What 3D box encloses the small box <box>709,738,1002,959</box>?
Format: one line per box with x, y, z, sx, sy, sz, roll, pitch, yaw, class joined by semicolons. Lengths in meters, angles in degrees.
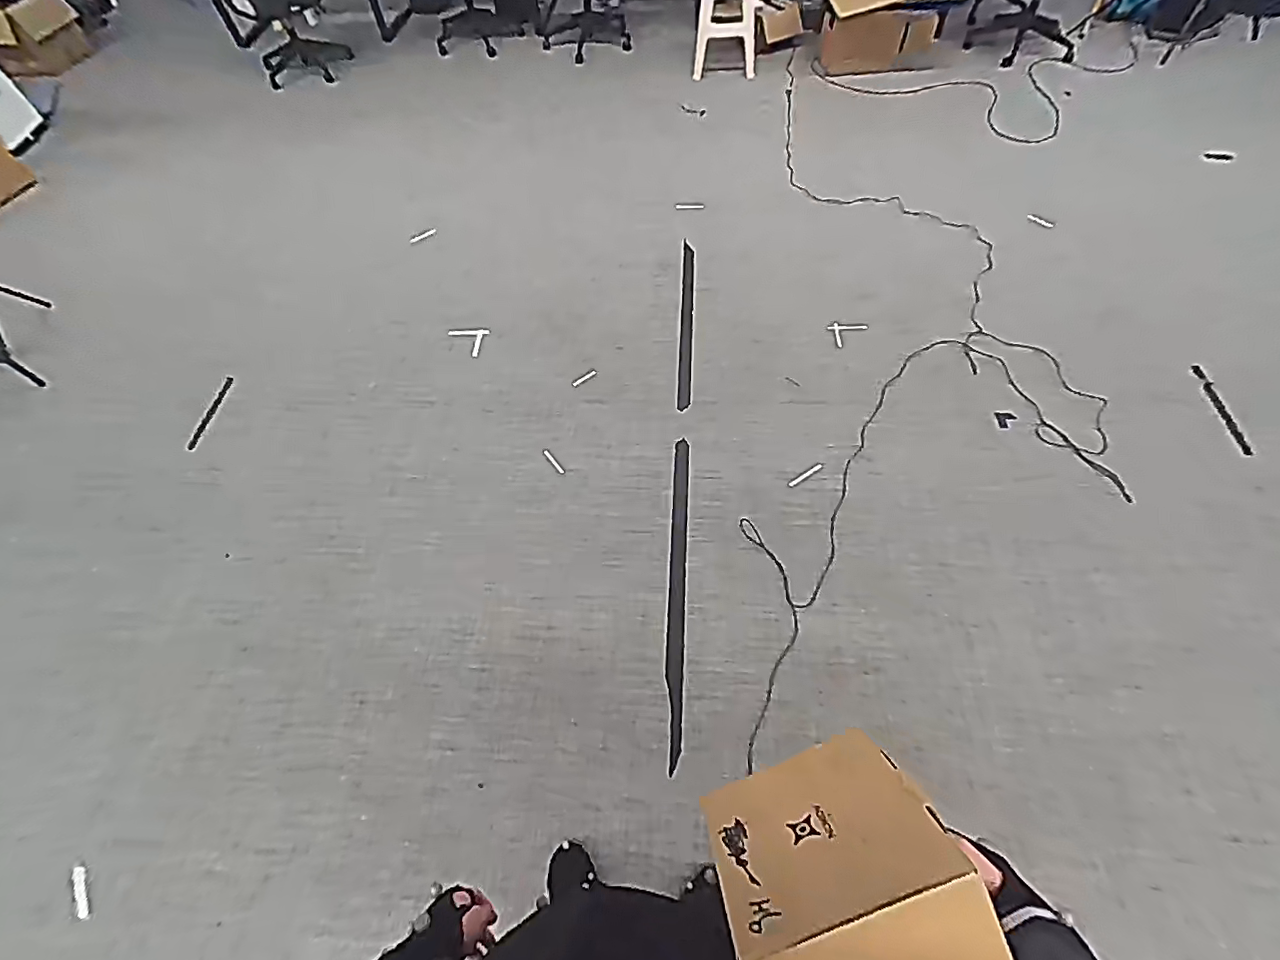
0.181;0.369;0.463;0.179;0.168;0.176;-23;96;0;small box
